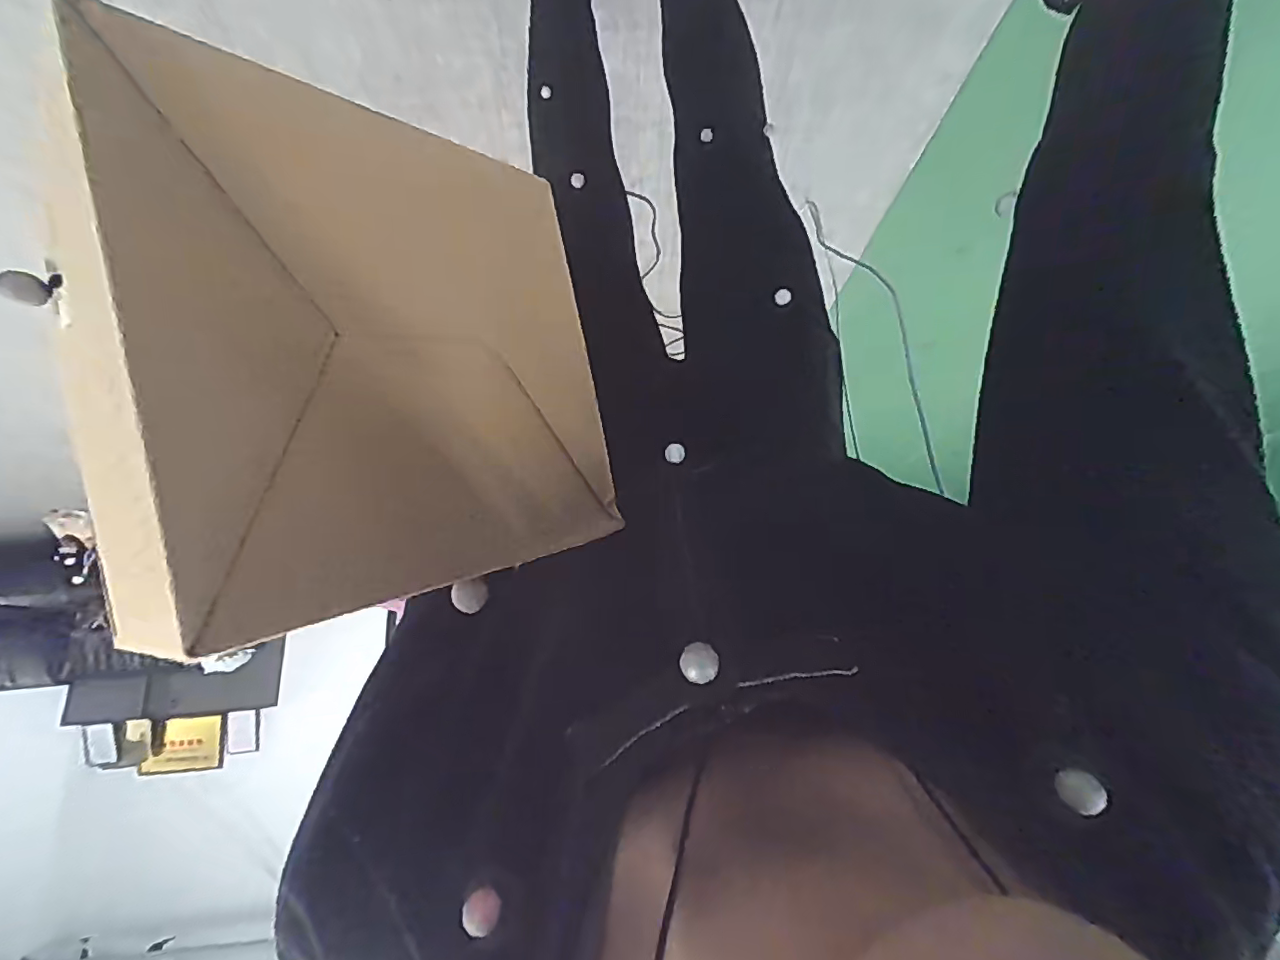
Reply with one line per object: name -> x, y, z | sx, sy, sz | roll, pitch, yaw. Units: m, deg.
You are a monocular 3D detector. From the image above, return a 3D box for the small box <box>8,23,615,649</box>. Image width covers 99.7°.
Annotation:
small box -> -0.132, -0.040, 0.236 | 0.176, 0.179, 0.168 | -13, 179, 40
